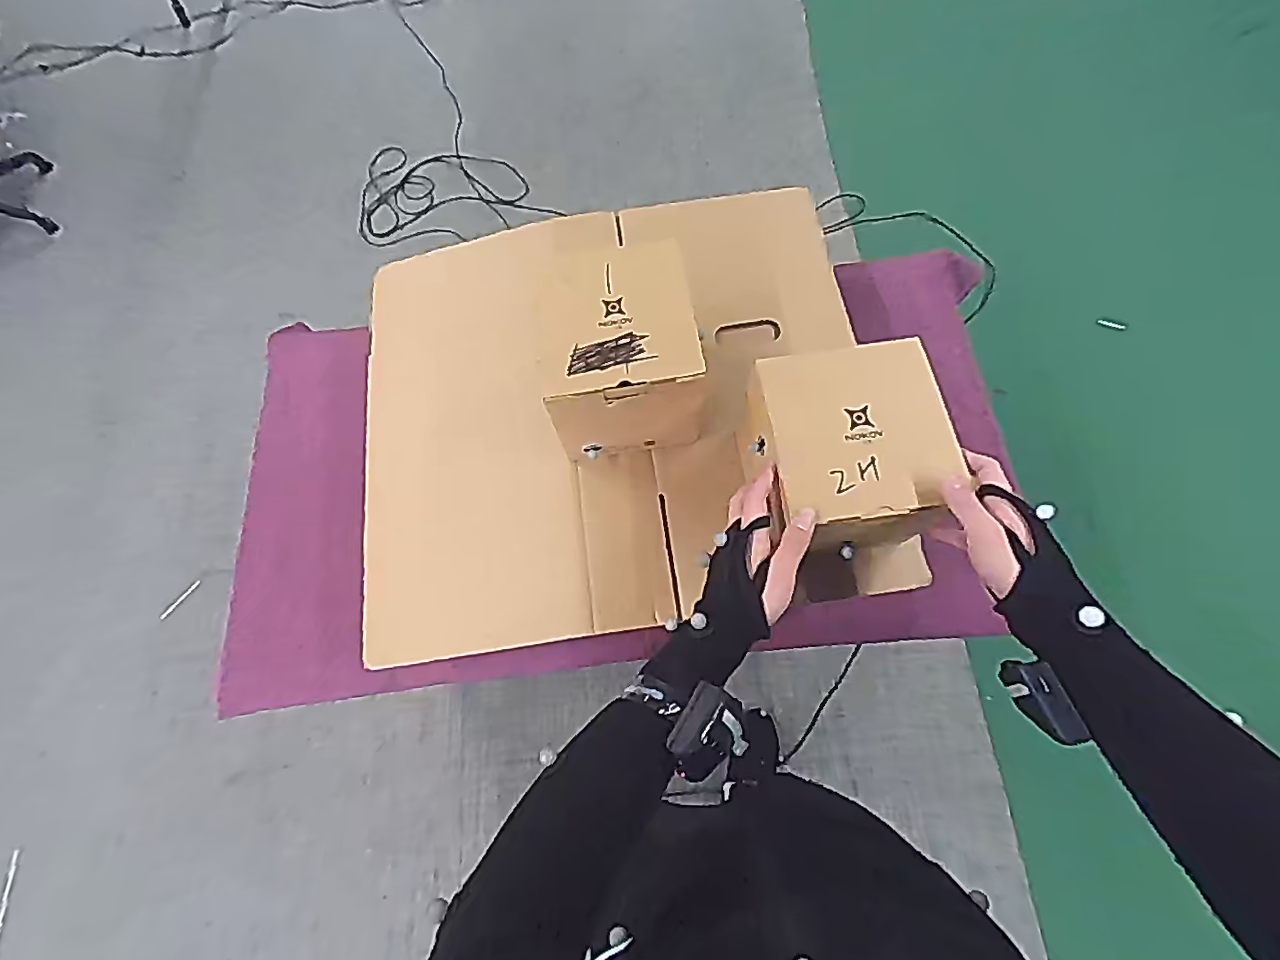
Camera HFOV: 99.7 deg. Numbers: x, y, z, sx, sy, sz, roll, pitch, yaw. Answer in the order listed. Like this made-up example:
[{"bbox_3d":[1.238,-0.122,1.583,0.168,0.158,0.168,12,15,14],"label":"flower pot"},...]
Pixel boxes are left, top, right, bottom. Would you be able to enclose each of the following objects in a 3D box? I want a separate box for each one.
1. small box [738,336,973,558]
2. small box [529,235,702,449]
[{"bbox_3d":[0.206,-0.026,0.577,0.168,0.176,0.179,-7,71,1],"label":"small box"},{"bbox_3d":[-0.025,-0.146,0.630,0.168,0.176,0.179,-8,70,-1],"label":"small box"}]
